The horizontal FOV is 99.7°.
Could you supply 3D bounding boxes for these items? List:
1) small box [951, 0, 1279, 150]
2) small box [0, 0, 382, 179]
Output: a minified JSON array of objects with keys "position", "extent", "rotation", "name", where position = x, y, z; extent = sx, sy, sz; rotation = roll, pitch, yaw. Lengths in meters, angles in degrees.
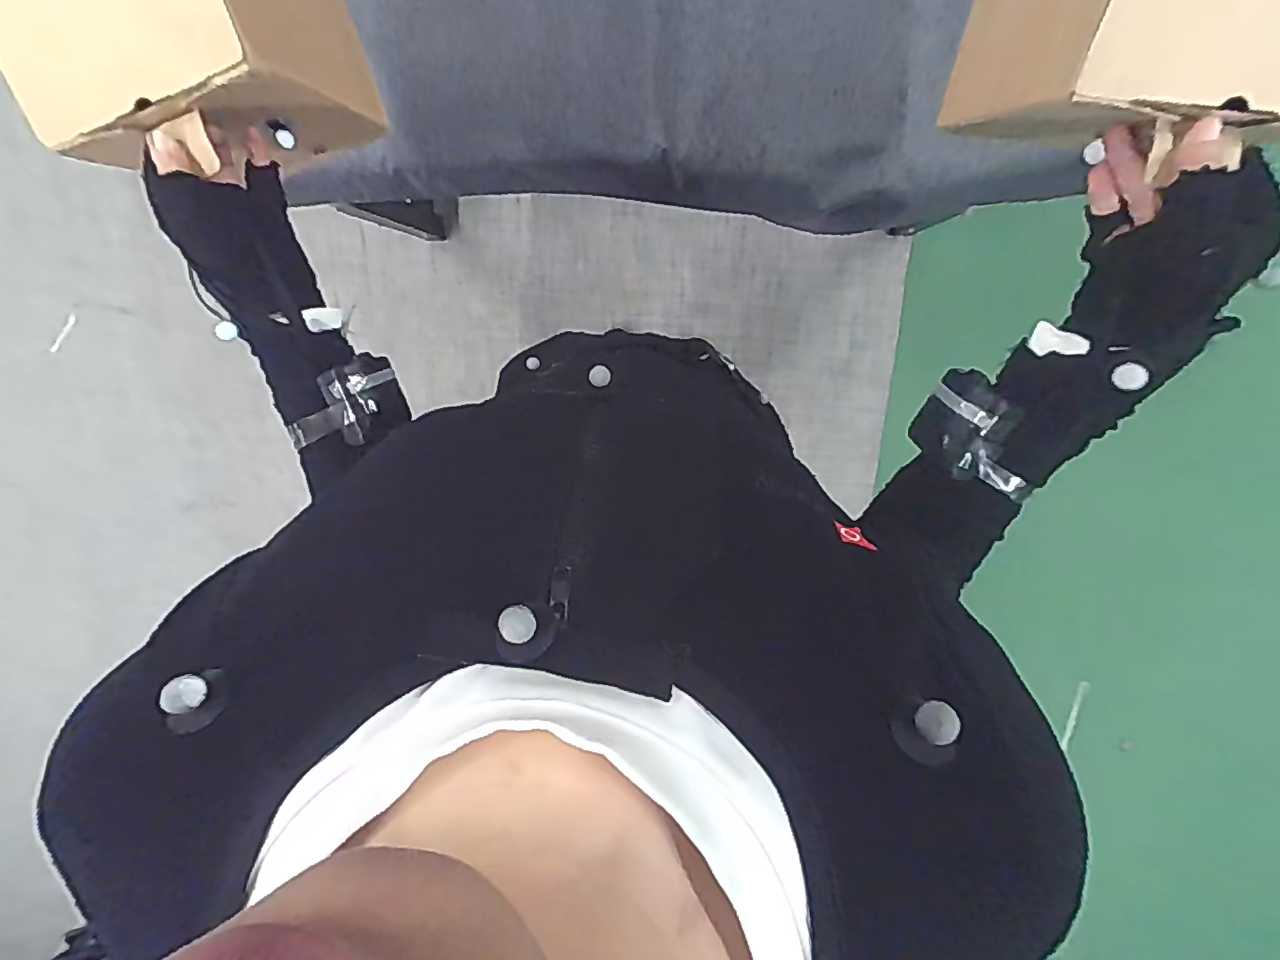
[{"position":[0.312,-0.298,0.306],"extent":[0.168,0.176,0.179],"rotation":[6,119,0],"name":"small box"},{"position":[-0.324,-0.337,0.386],"extent":[0.168,0.176,0.179],"rotation":[-14,107,11],"name":"small box"}]
